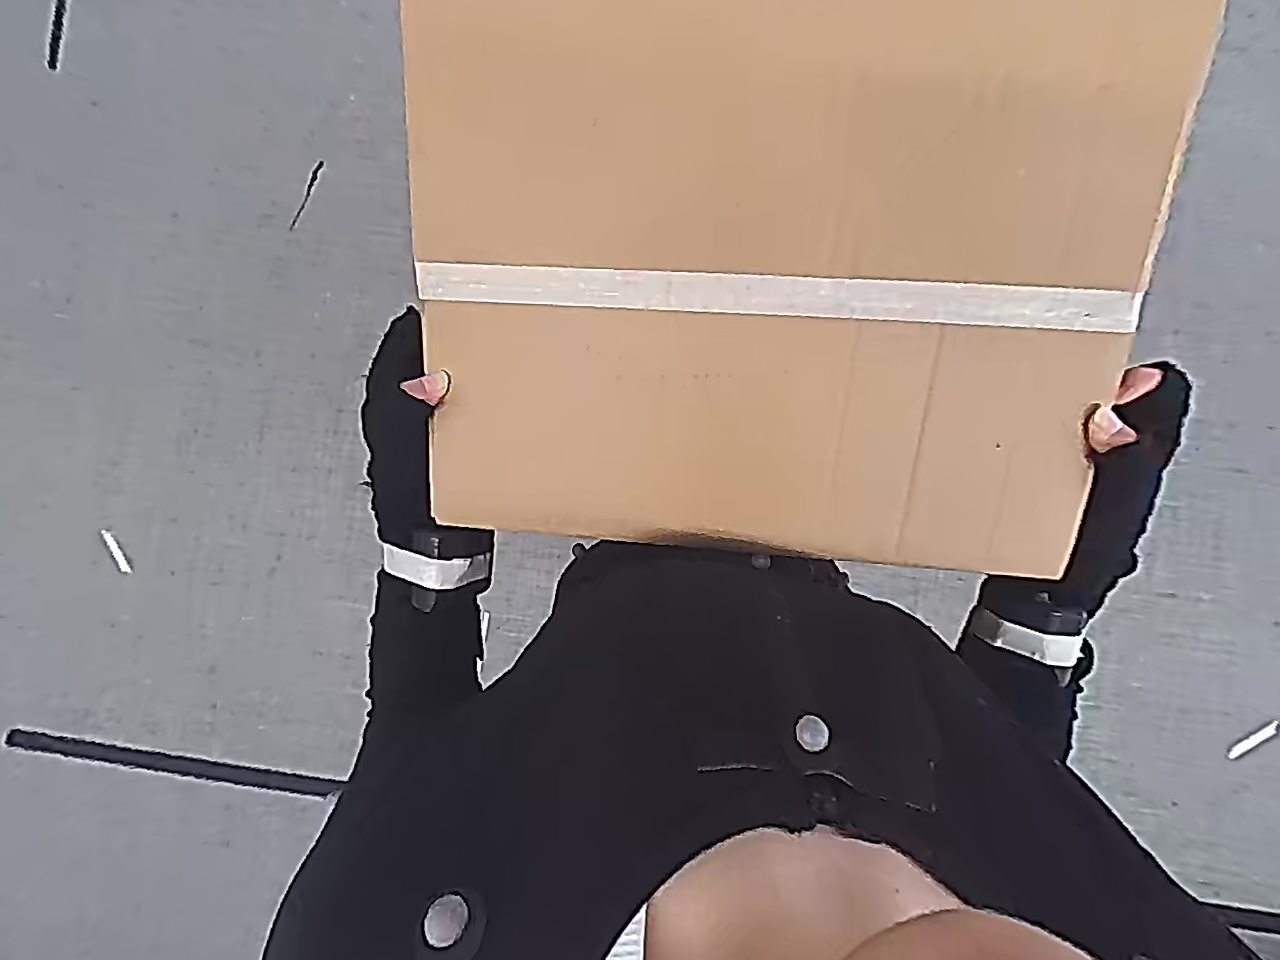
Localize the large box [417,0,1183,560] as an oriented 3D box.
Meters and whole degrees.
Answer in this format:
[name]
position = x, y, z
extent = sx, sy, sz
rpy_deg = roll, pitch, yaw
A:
[large box]
position = 0.079, -0.145, 0.464
extent = 0.408, 0.320, 0.320
rpy_deg = 5, 106, 4
